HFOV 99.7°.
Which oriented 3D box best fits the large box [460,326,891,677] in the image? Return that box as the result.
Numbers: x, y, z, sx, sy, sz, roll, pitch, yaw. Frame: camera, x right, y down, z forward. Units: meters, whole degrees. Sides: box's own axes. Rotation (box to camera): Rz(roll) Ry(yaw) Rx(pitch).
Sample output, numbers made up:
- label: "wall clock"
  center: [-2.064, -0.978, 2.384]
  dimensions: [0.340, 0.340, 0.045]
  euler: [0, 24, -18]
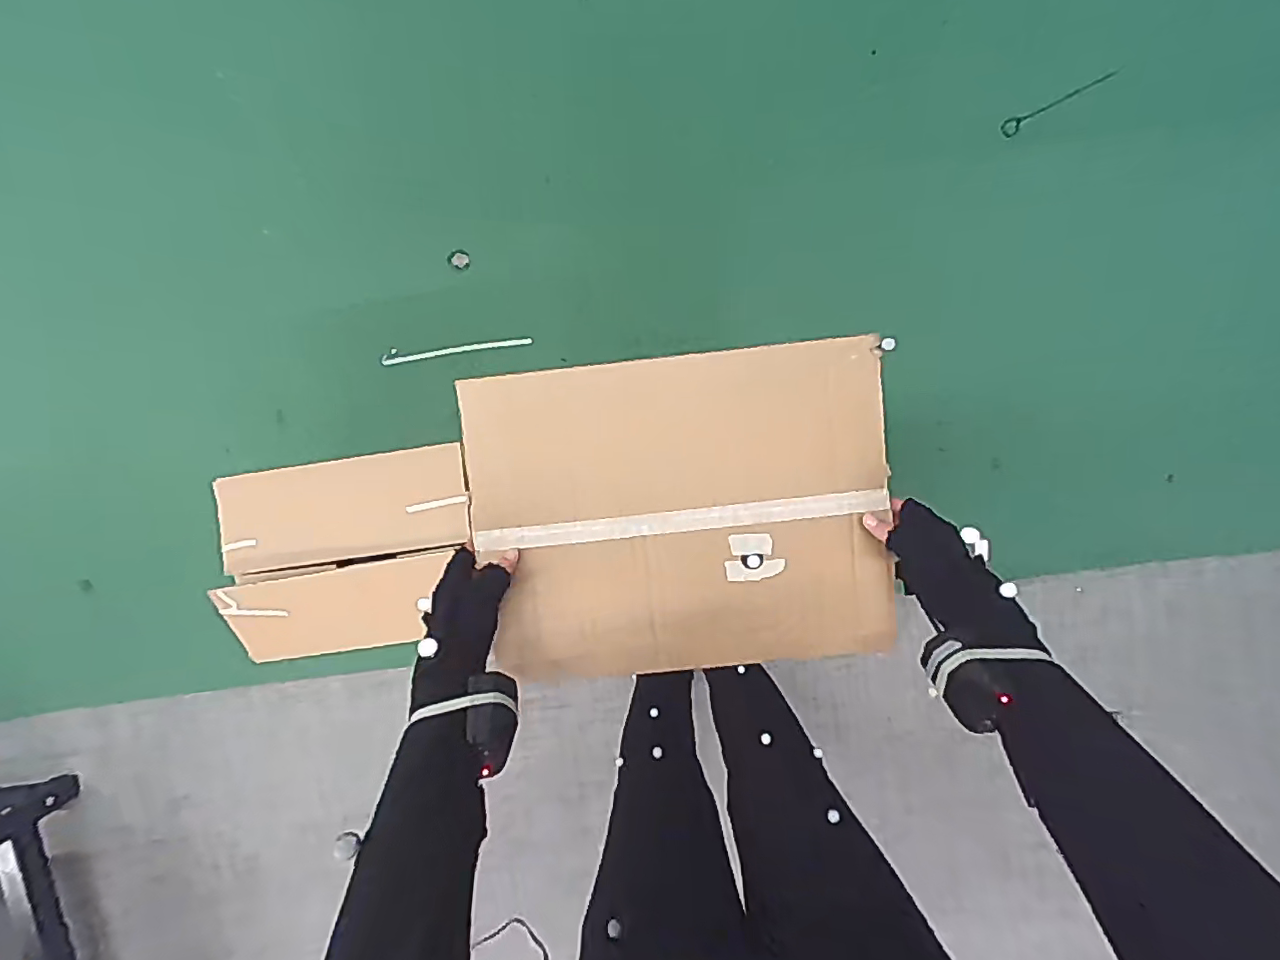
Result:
- label: "large box"
  center: [0.039, 0.012, 0.680]
  dimensions: [0.408, 0.320, 0.320]
  euler: [-6, 97, 1]
